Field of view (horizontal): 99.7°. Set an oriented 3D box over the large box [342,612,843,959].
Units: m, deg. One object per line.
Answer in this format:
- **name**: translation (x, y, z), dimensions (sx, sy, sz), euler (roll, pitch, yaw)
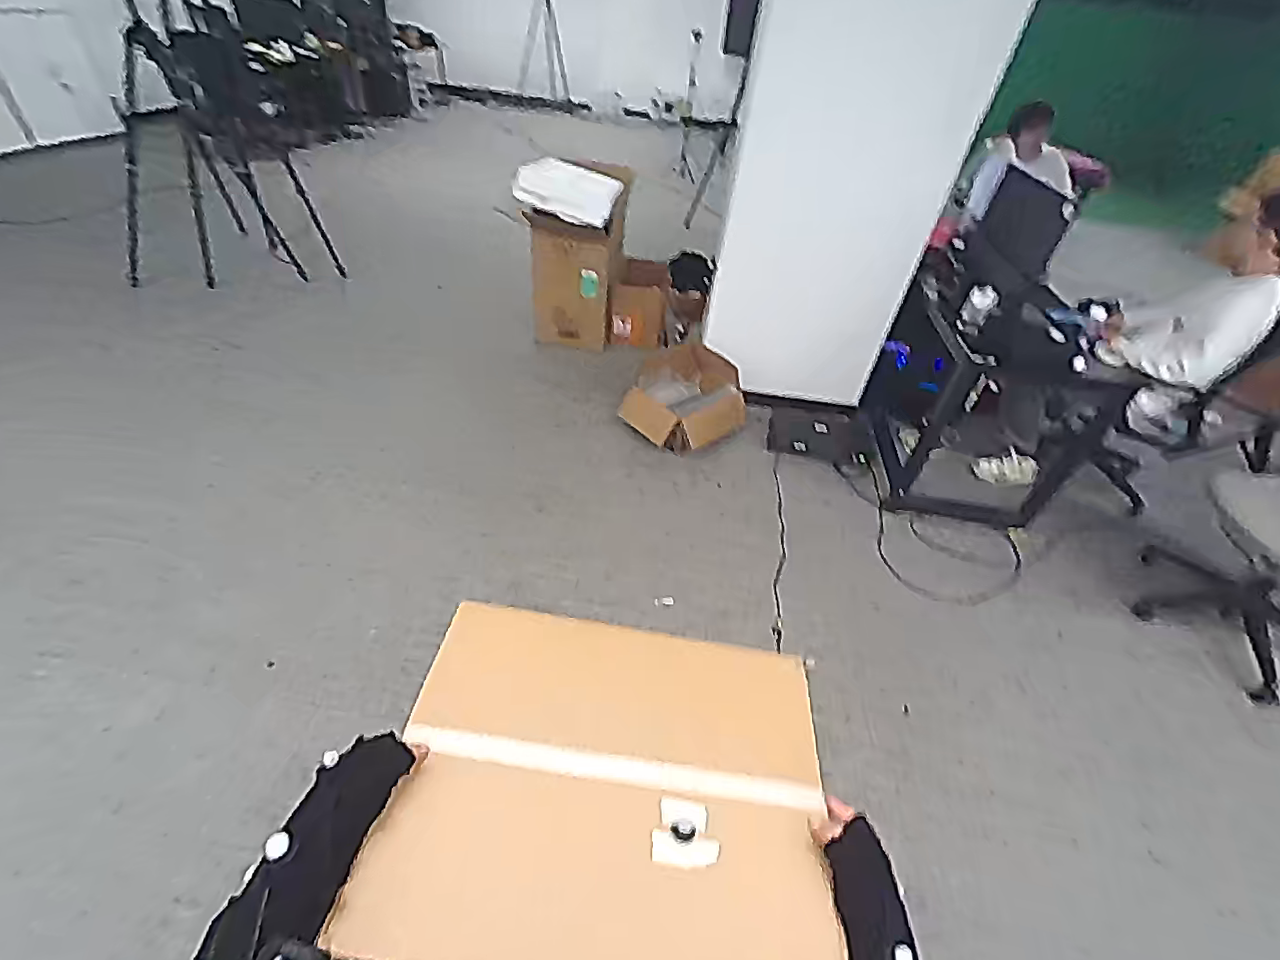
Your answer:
- **large box**: translation (-0.043, 0.395, 0.620), dimensions (0.408, 0.320, 0.320), euler (10, 40, -1)
